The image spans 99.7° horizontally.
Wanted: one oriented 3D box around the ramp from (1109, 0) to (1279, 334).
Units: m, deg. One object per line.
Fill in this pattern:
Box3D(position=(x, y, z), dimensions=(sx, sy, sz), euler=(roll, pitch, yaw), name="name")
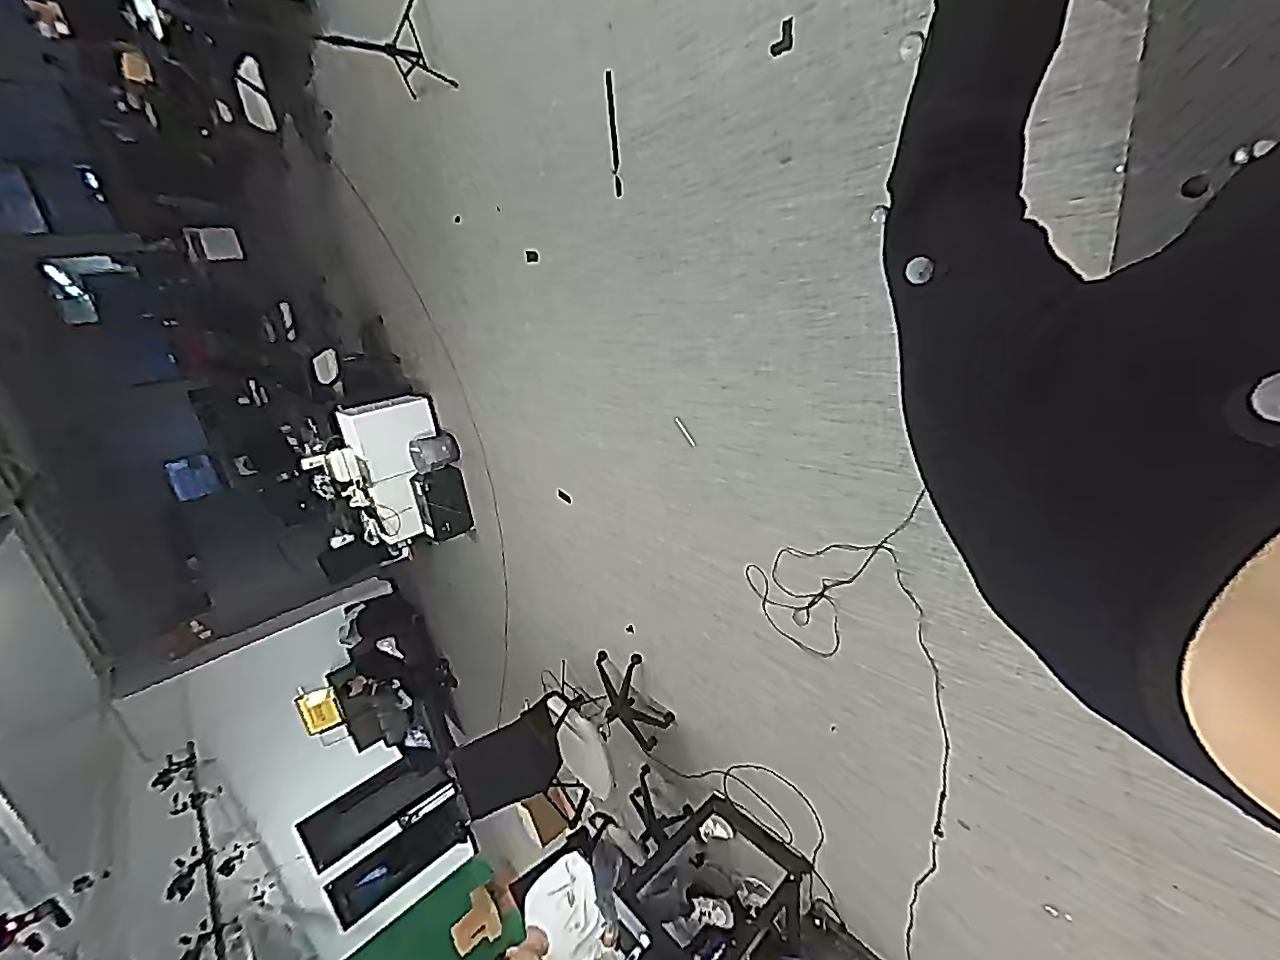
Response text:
Box3D(position=(1.054, -0.702, 0.775), dimensions=(0.509, 0.206, 0.991), euler=(12, 118, 46), name="ramp")
